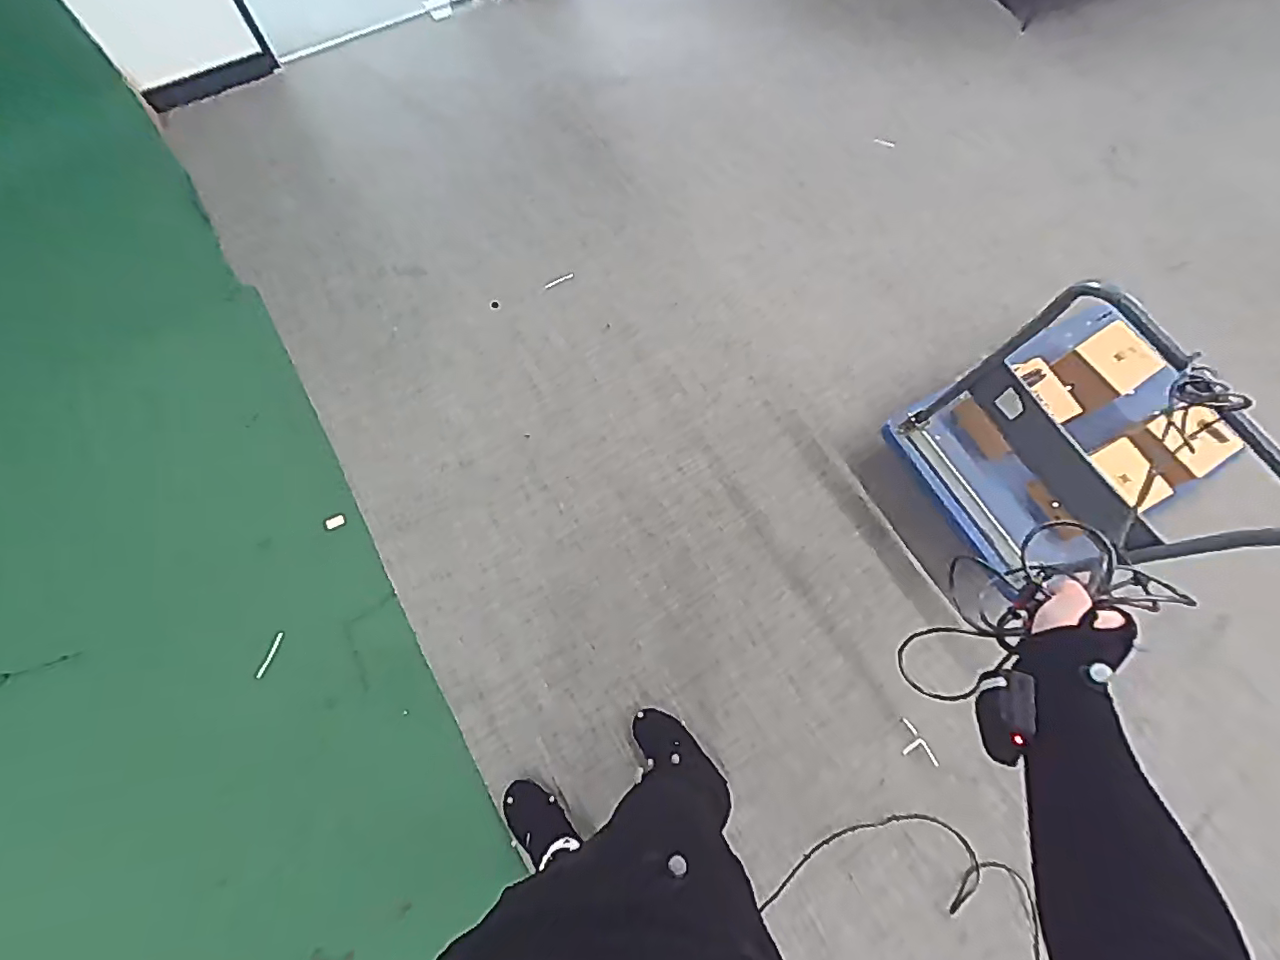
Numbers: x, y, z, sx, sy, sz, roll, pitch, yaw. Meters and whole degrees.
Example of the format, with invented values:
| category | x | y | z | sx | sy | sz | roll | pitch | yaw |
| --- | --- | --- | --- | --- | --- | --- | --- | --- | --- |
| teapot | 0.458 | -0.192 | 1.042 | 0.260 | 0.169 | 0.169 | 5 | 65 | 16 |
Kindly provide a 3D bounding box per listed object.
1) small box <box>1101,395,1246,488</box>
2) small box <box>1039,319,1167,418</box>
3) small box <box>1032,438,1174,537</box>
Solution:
| category | x | y | z | sx | sy | sz | roll | pitch | yaw |
| --- | --- | --- | --- | --- | --- | --- | --- | --- | --- |
| small box | 1.368 | -0.085 | 1.402 | 0.179 | 0.176 | 0.168 | -30 | 73 | -10 |
| small box | 1.242 | -0.296 | 1.471 | 0.179 | 0.176 | 0.168 | -31 | 75 | -11 |
| small box | 1.152 | 0.024 | 1.362 | 0.179 | 0.176 | 0.168 | -26 | 74 | -9 |
